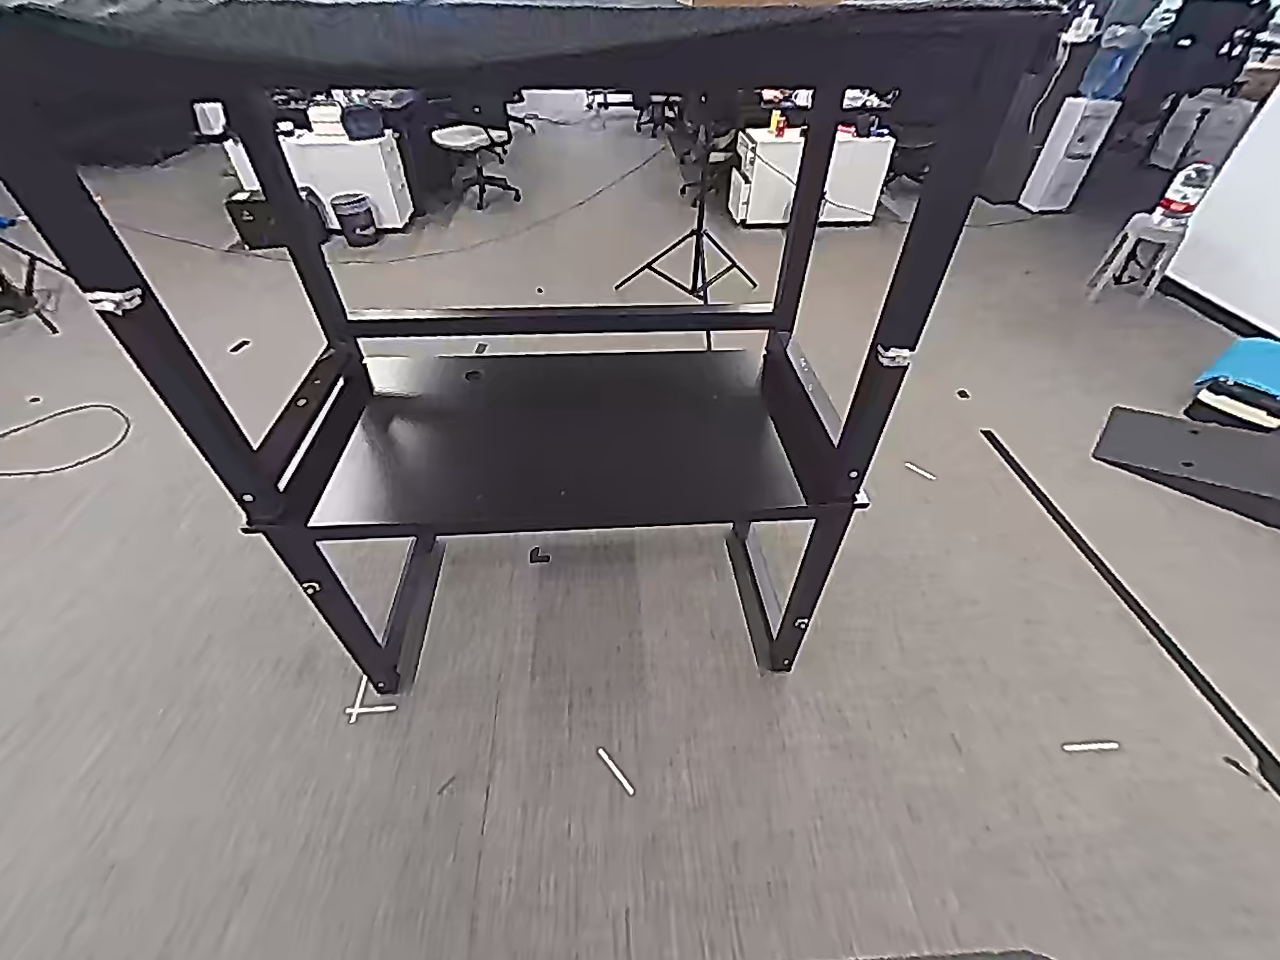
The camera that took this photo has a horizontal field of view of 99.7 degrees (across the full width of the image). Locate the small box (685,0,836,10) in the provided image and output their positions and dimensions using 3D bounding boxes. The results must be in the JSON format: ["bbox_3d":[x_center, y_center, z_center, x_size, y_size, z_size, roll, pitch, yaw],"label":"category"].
[{"bbox_3d":[0.134,-0.633,0.594,0.168,0.176,0.179,-2,43,-1],"label":"small box"}]
